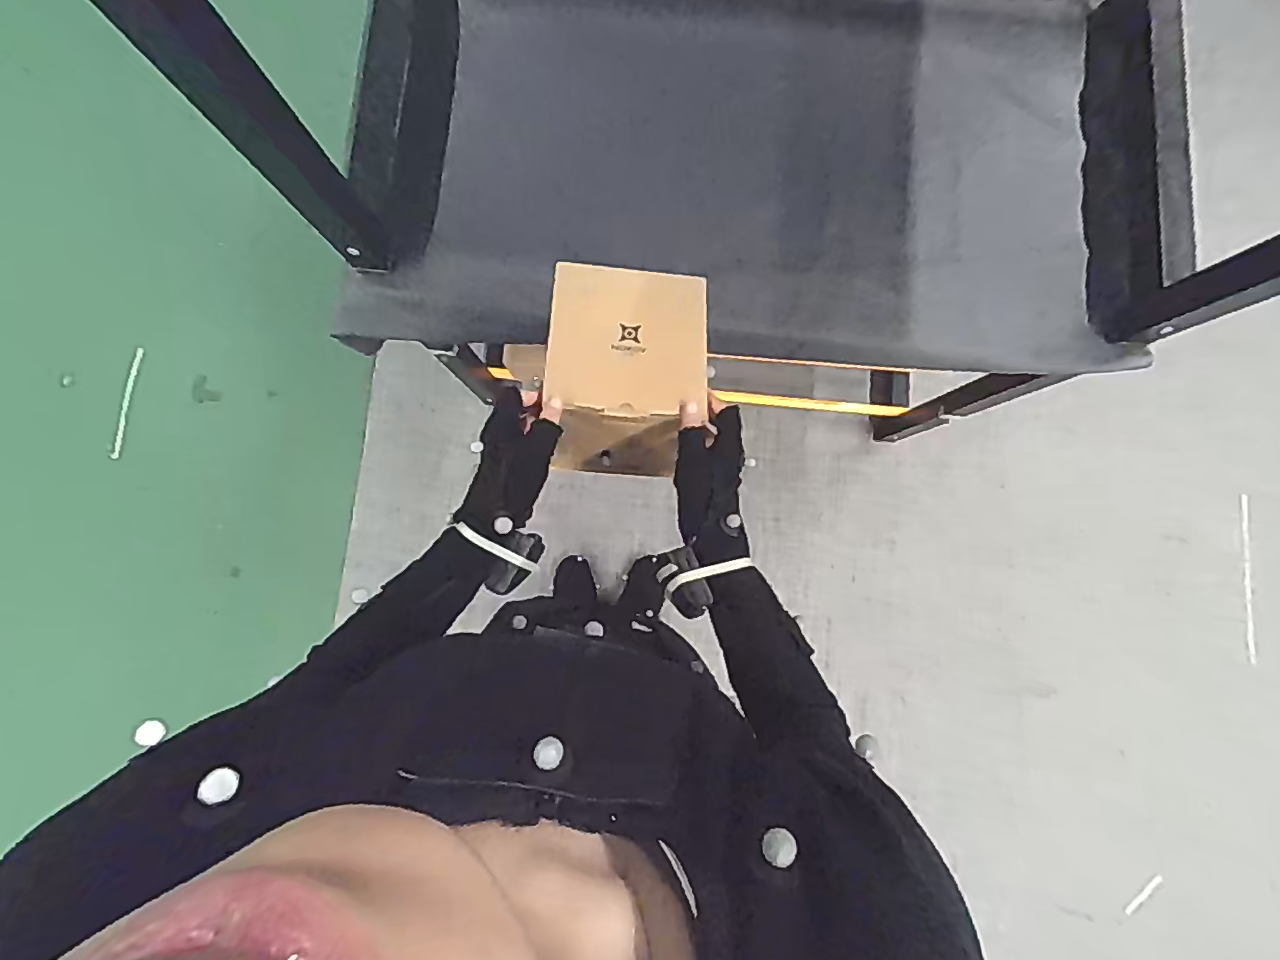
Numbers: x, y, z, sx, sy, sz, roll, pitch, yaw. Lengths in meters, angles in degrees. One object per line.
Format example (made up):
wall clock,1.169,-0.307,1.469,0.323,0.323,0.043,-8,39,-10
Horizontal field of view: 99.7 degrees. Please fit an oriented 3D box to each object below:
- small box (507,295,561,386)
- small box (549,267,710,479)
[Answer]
small box,-0.228,-0.341,1.360,0.168,0.176,0.179,5,85,-1
small box,-0.017,-0.117,0.641,0.168,0.176,0.179,4,69,-6
